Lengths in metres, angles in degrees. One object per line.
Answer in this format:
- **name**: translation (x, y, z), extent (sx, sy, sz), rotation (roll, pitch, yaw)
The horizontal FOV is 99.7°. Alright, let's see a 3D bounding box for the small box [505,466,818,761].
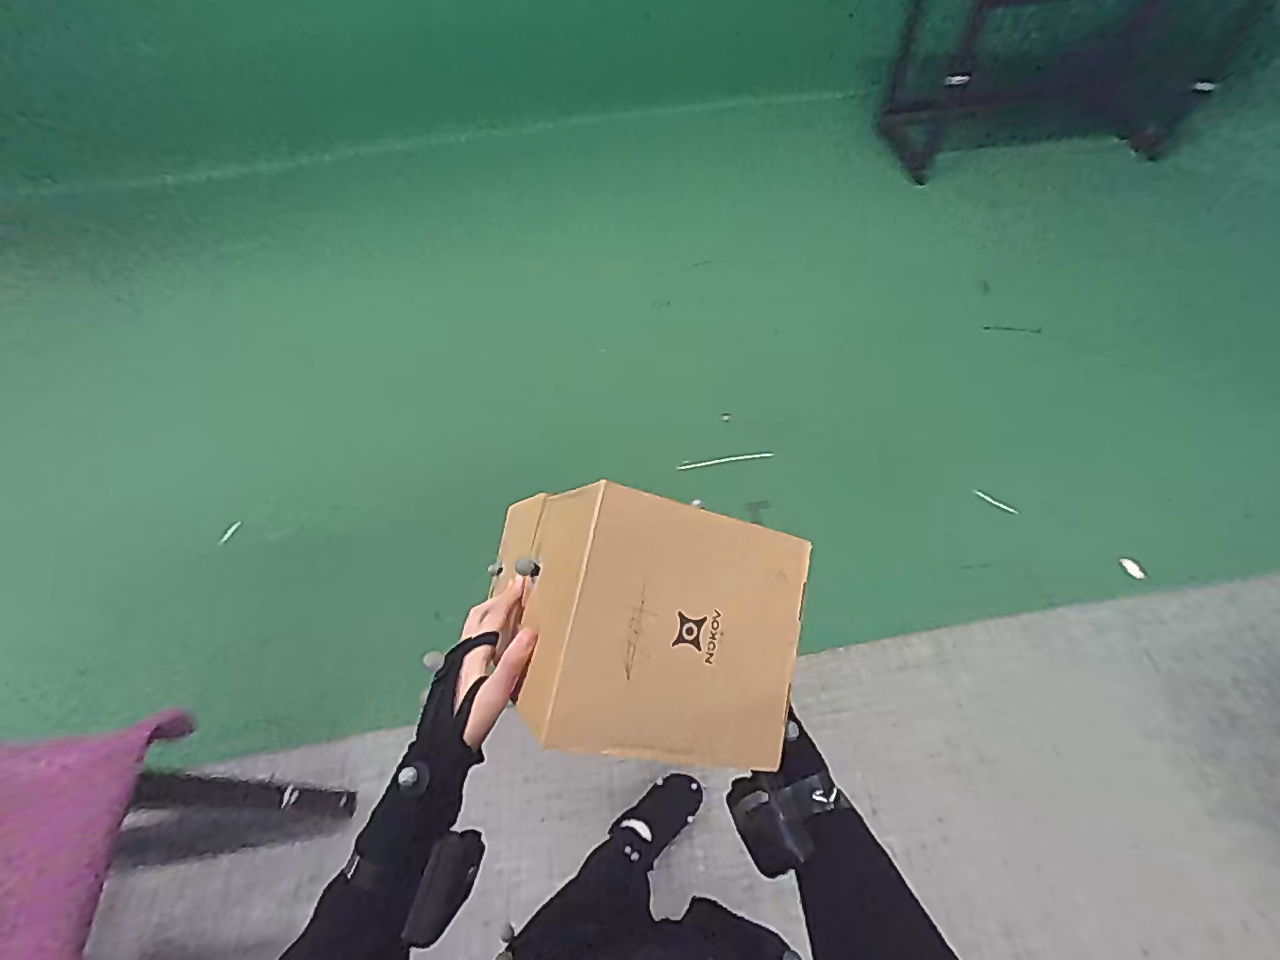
- **small box**: translation (0.007, 0.101, 0.433), extent (0.179, 0.176, 0.168), rotation (18, 76, -19)
